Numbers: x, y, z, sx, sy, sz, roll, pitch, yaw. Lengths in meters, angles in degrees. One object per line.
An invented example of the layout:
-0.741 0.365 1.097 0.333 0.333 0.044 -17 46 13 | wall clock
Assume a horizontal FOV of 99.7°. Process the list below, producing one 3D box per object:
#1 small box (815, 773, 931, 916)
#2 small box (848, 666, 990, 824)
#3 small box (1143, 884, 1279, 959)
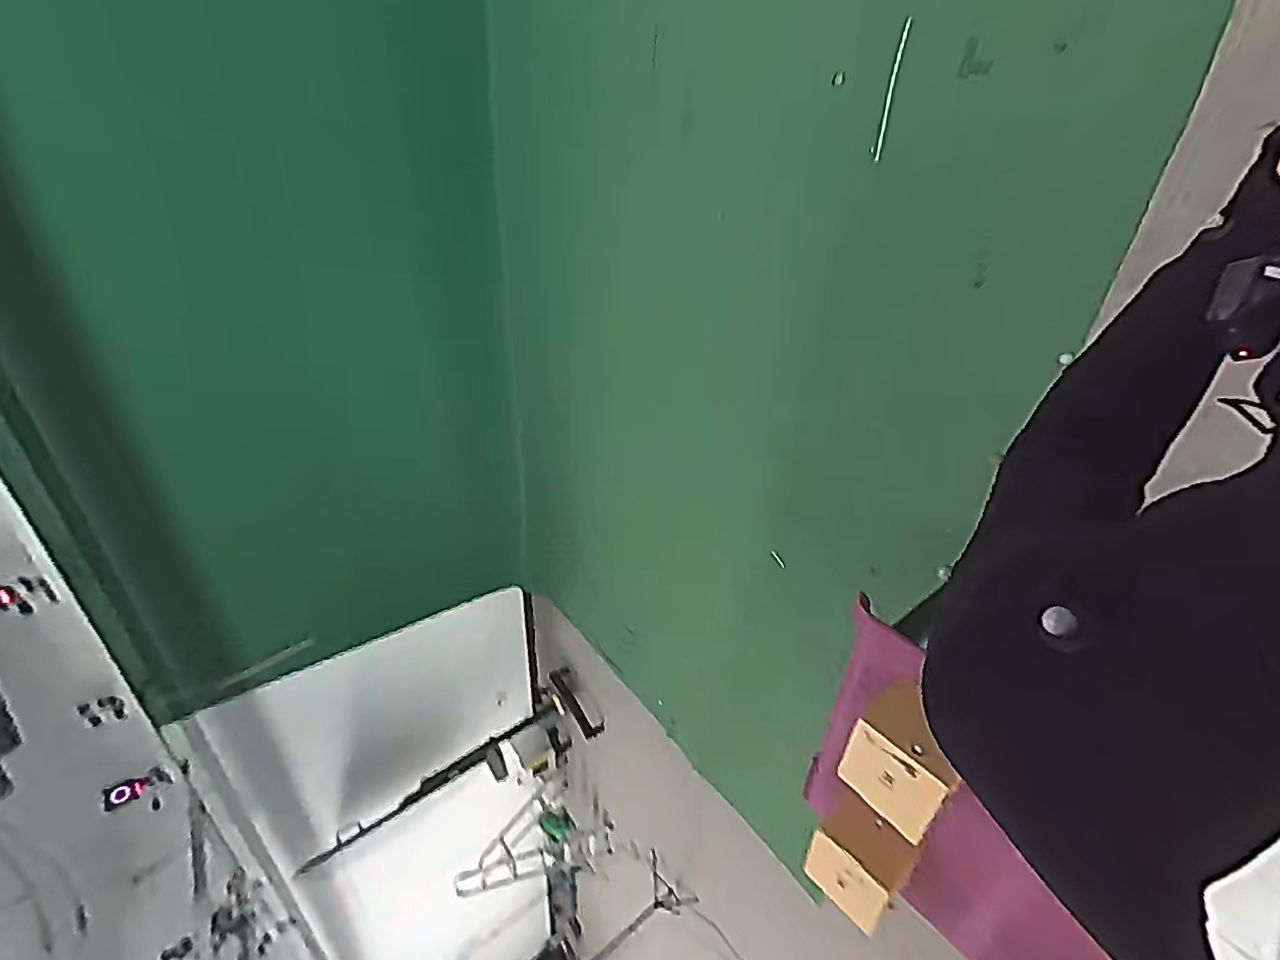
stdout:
0.525 0.812 1.220 0.168 0.176 0.179 30 129 42 | small box
0.537 0.503 1.045 0.168 0.176 0.179 34 132 42 | small box
0.821 0.715 0.738 0.168 0.176 0.179 33 133 43 | small box
